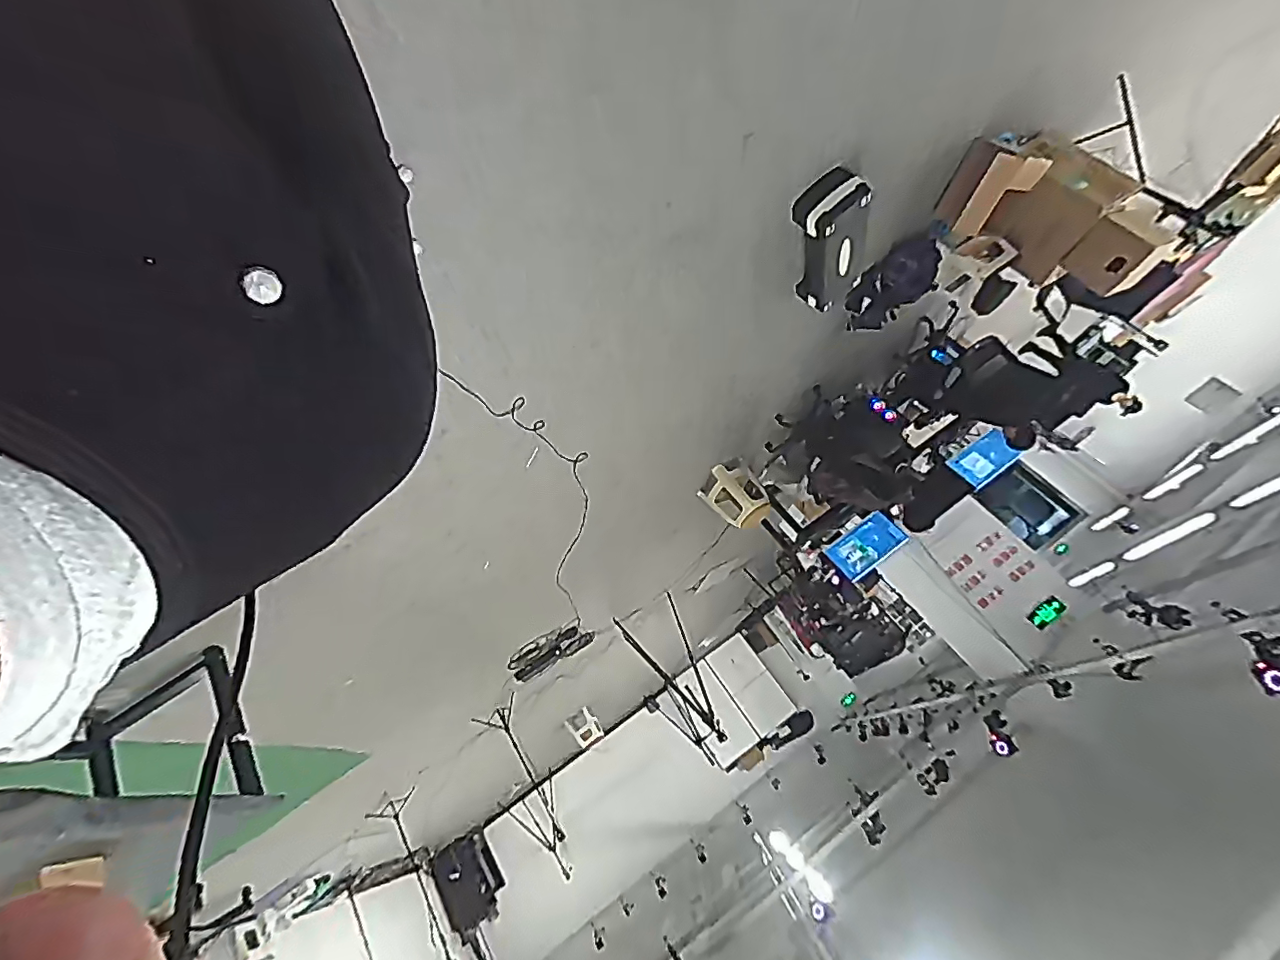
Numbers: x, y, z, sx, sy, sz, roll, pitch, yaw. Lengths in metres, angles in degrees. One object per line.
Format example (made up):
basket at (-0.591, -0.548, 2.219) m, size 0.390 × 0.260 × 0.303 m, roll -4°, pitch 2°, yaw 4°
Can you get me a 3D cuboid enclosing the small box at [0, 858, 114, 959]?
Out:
small box at (-1.611, 1.171, 1.479) m, size 0.179 × 0.176 × 0.168 m, roll -34°, pitch 153°, yaw -9°
